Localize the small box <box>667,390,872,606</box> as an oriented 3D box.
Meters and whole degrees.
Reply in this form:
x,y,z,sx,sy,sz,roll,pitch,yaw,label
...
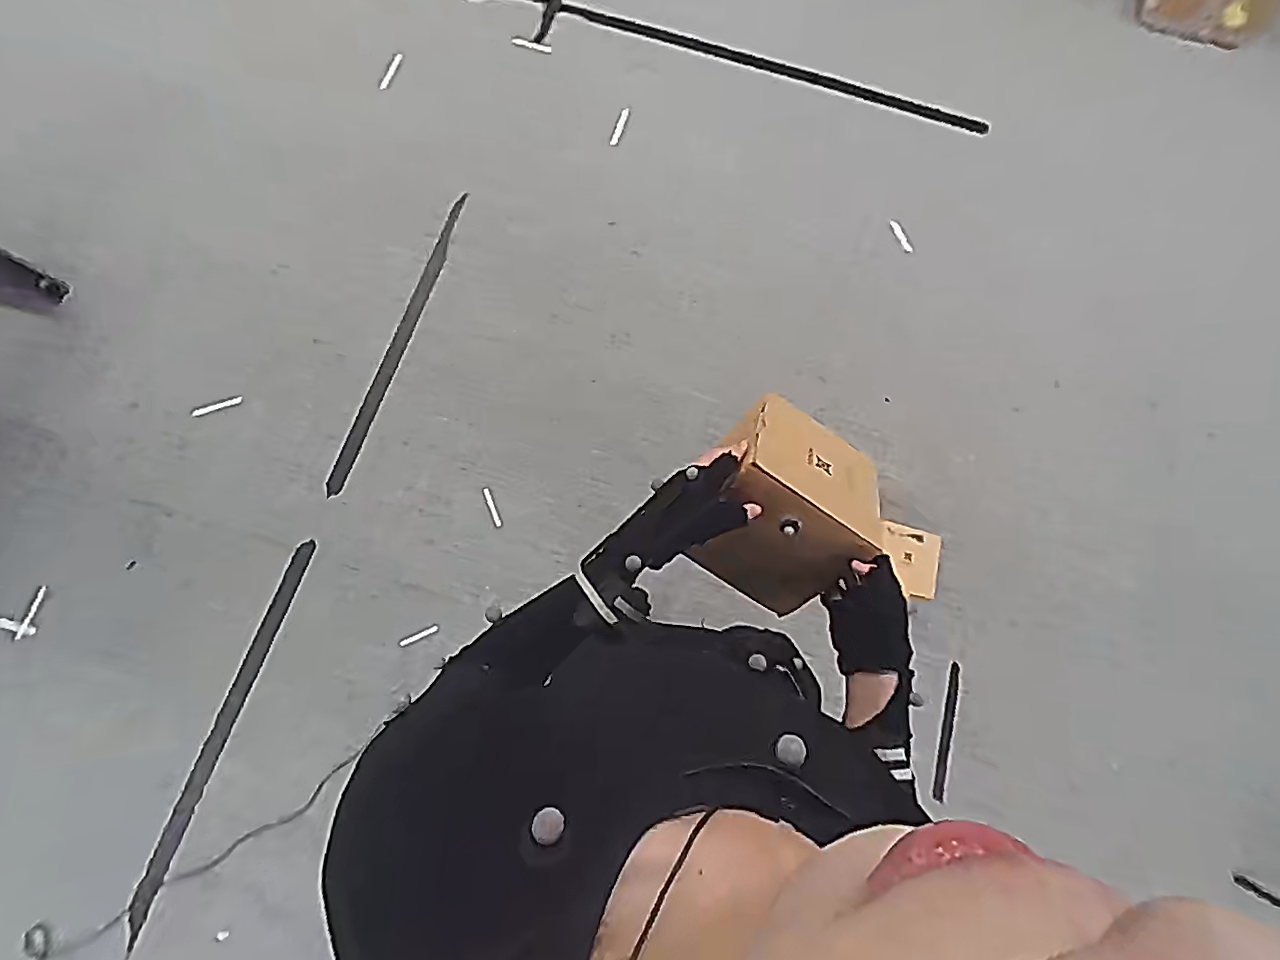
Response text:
x,y,z,sx,sy,sz,roll,pitch,yaw,label
0.157,0.028,0.676,0.179,0.176,0.168,32,40,-7,small box

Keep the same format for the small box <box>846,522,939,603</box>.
x,y,z,sx,sy,sz,roll,pitch,yaw,label
0.688,0.230,1.493,0.168,0.176,0.179,16,78,1,small box
